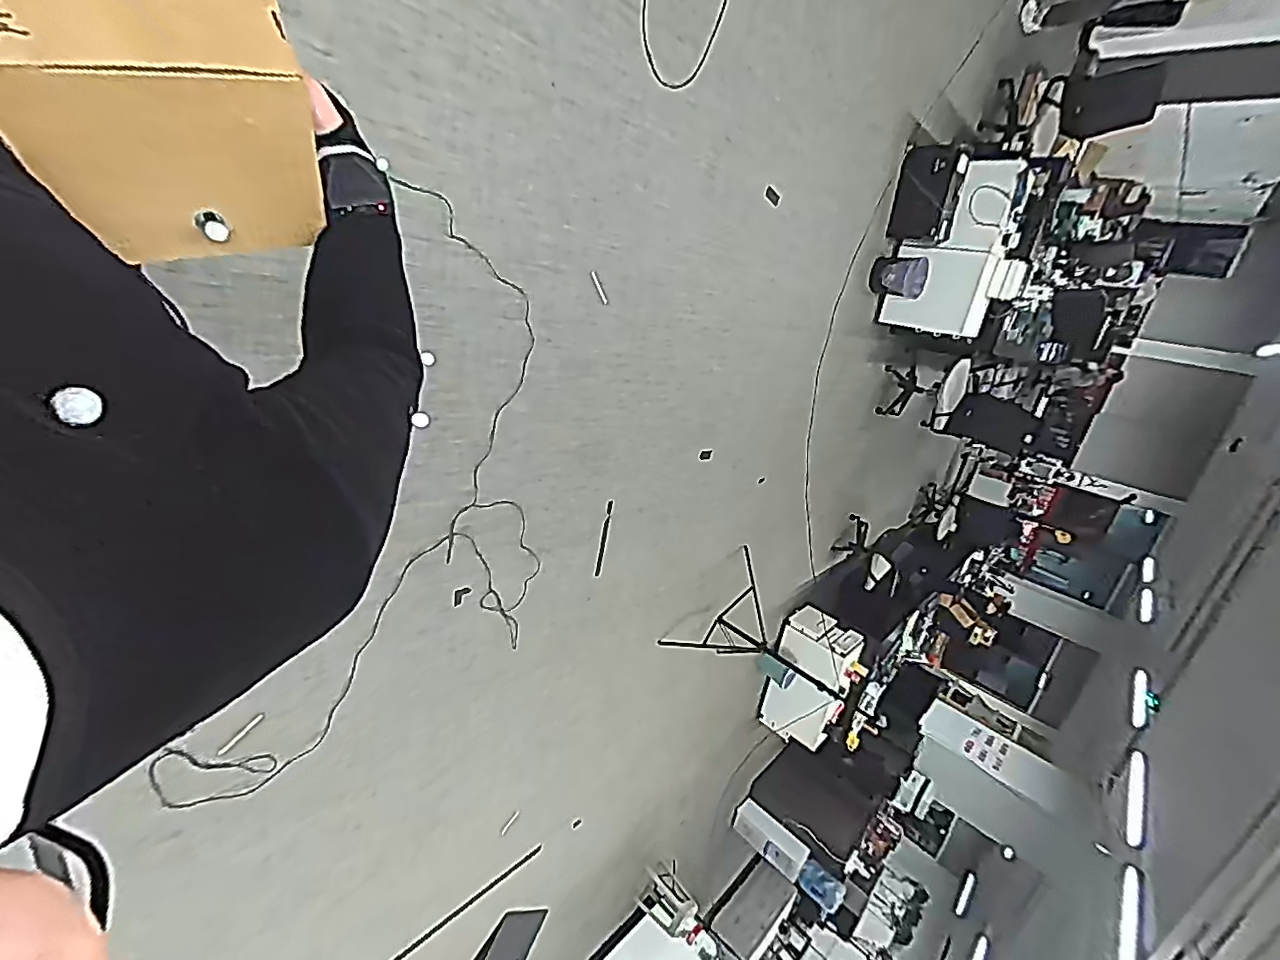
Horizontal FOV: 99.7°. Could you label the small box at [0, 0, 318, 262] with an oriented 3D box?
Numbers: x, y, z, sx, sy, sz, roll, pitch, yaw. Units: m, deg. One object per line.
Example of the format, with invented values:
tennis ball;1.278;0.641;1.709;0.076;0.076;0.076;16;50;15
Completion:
small box;-0.379;-0.302;0.432;0.179;0.168;0.176;-22;171;-30
